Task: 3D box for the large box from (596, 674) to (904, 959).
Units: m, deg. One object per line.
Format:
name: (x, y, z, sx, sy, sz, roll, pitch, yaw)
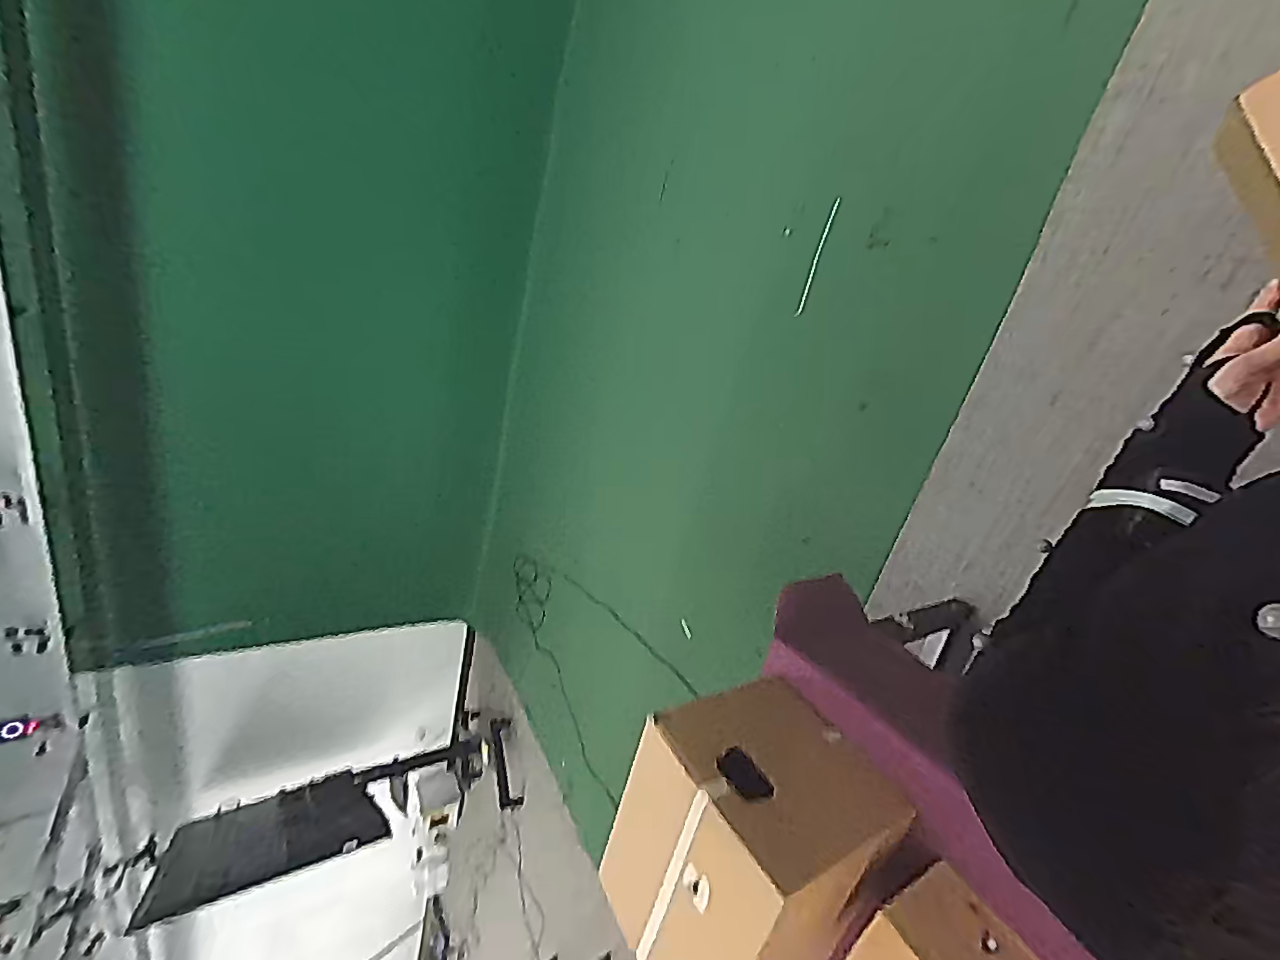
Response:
large box: (0.166, 0.612, 0.923, 0.320, 0.320, 0.408, 38, 119, 47)
